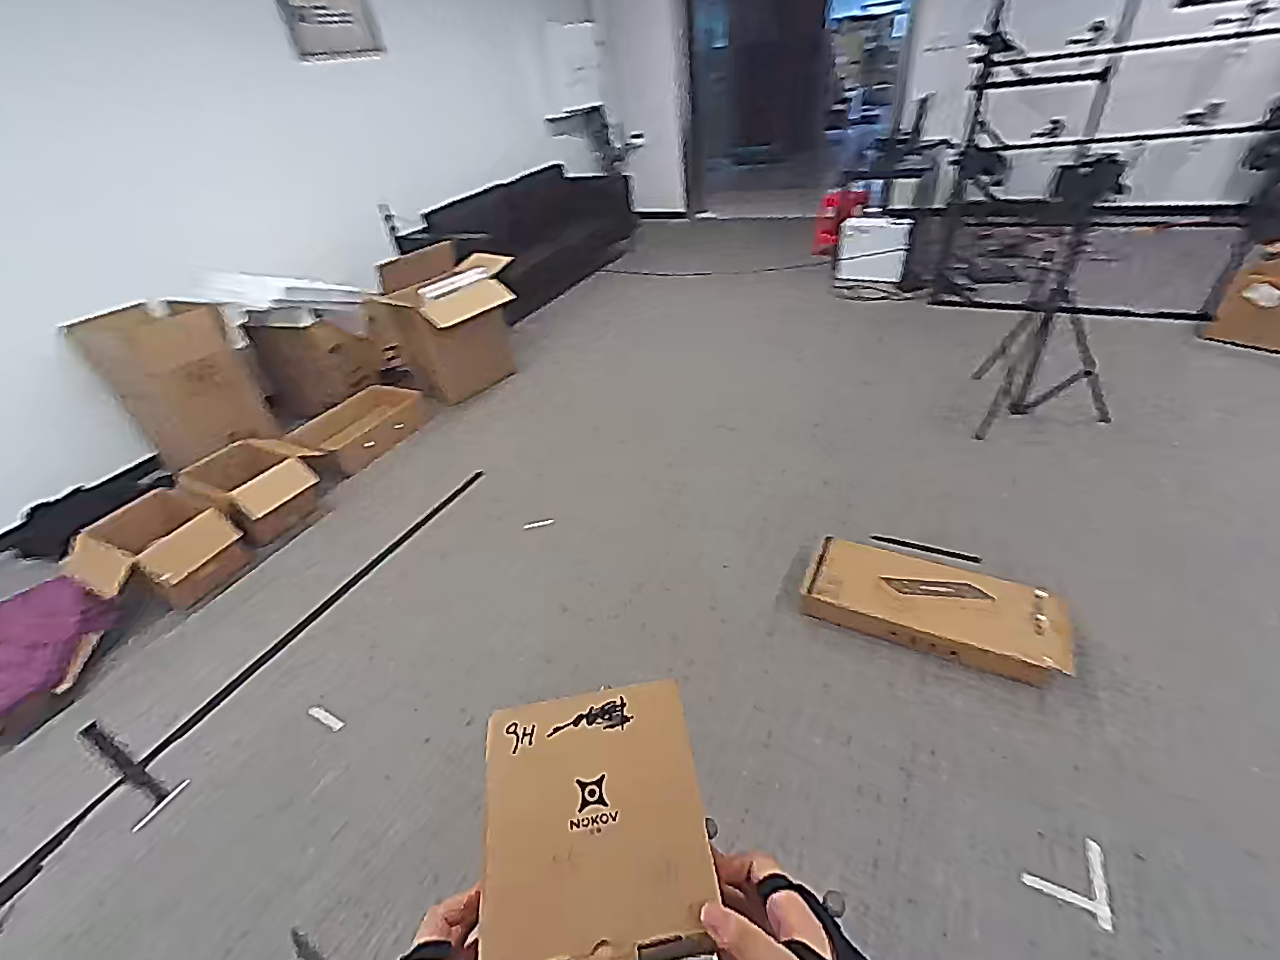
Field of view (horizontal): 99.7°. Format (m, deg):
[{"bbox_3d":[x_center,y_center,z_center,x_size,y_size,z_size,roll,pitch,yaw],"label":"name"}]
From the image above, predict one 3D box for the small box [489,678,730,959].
[{"bbox_3d":[-0.023,0.300,0.468,0.168,0.176,0.179,-9,47,-3],"label":"small box"}]
